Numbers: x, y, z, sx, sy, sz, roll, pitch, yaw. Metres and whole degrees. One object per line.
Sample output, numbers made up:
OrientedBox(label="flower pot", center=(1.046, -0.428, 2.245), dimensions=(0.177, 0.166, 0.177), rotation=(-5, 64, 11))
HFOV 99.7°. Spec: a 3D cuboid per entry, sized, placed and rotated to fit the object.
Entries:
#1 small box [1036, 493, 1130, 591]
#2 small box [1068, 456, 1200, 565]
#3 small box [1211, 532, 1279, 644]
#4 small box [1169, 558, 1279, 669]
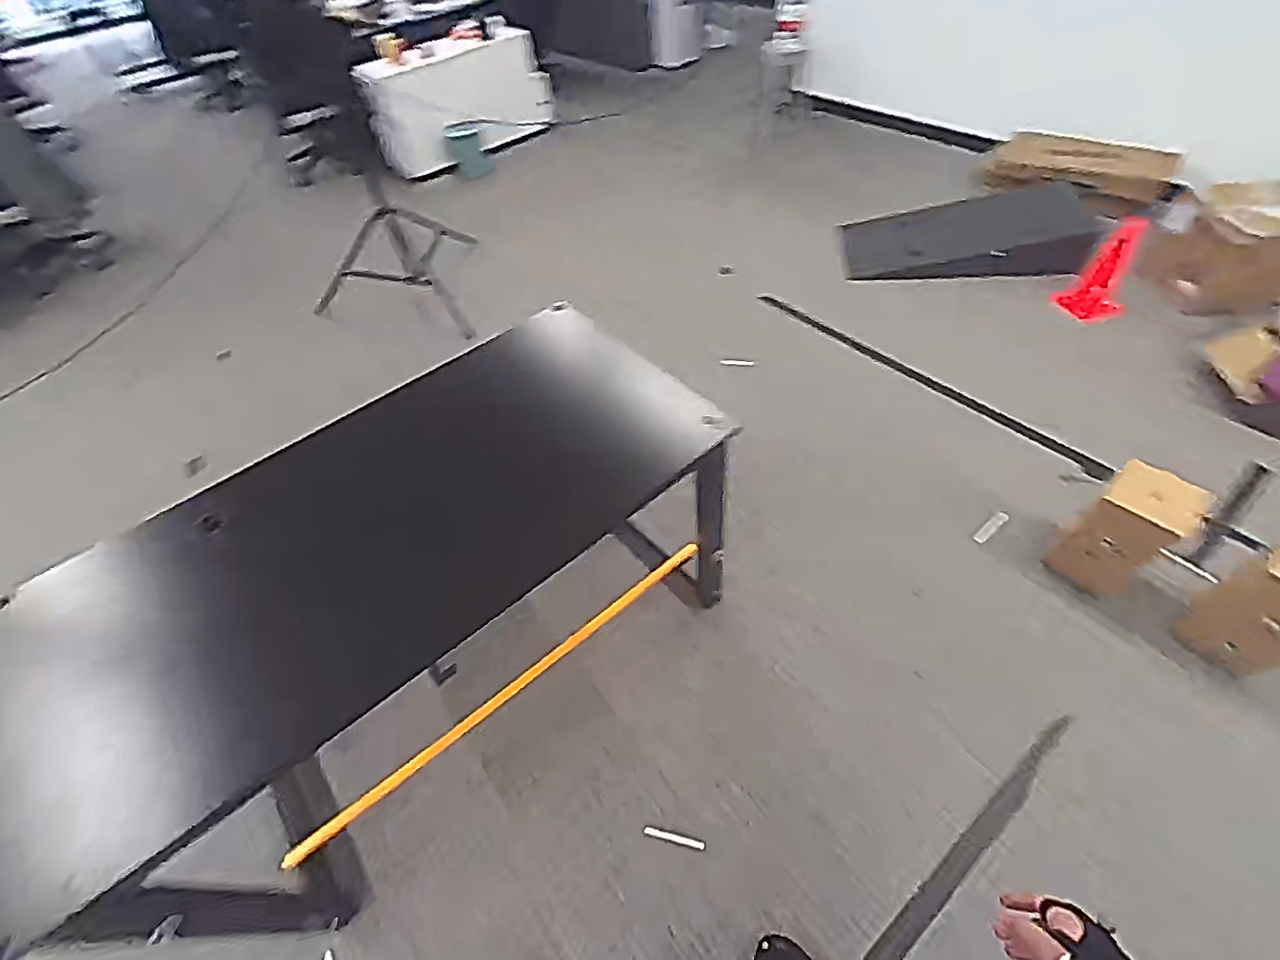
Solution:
OrientedBox(label="small box", center=(1.250, 0.175, 1.494), dimensions=(0.168, 0.176, 0.179), rotation=(-37, 57, -21))
OrientedBox(label="small box", center=(1.234, 0.078, 1.365), dimensions=(0.179, 0.176, 0.168), rotation=(-40, 56, -21))
OrientedBox(label="small box", center=(1.457, 0.236, 1.210), dimensions=(0.179, 0.176, 0.168), rotation=(-35, 56, -18))
OrientedBox(label="small box", center=(1.481, 0.336, 1.341), dimensions=(0.179, 0.176, 0.168), rotation=(-36, 56, -19))
